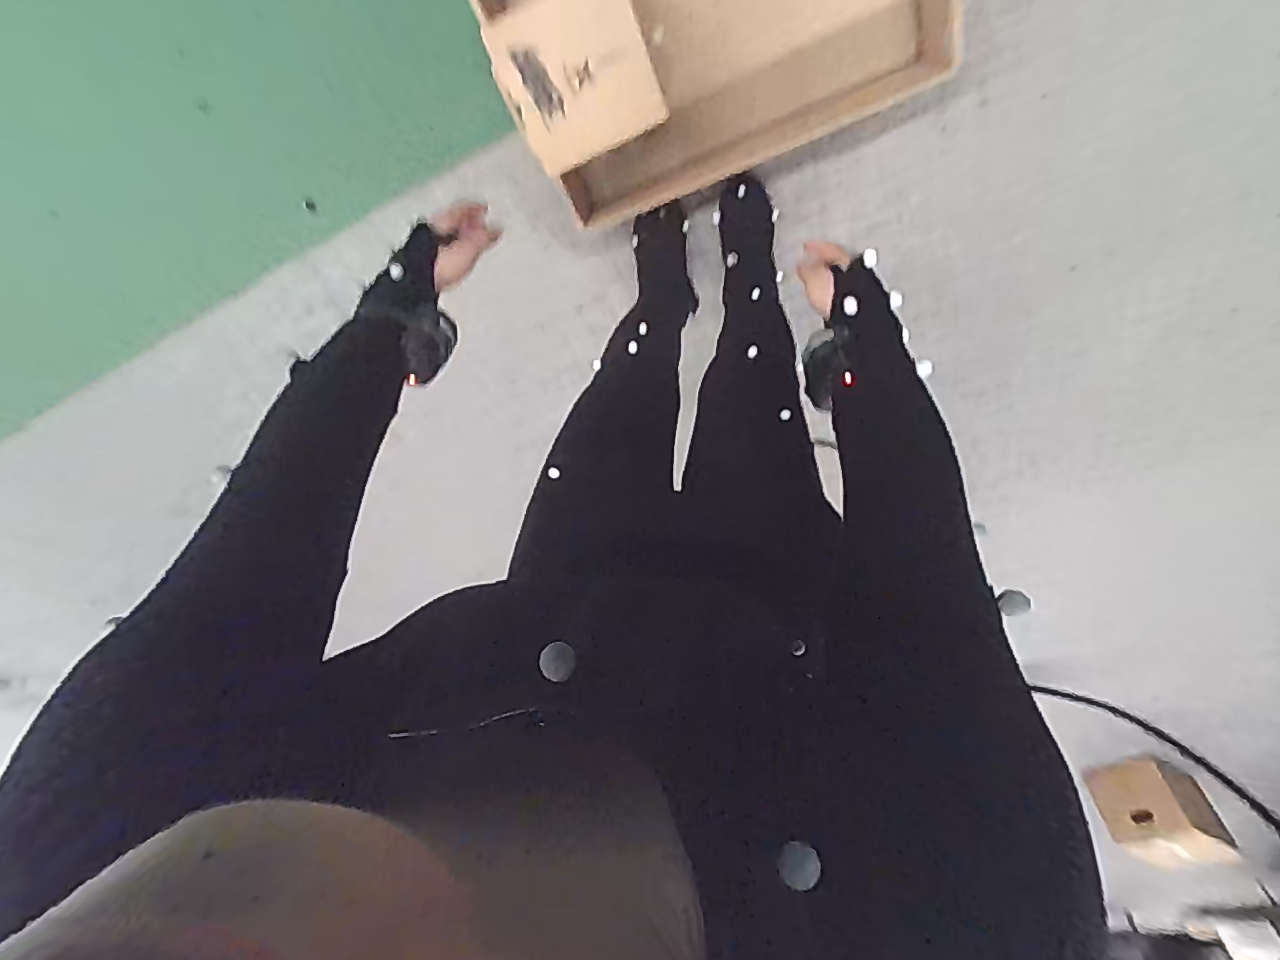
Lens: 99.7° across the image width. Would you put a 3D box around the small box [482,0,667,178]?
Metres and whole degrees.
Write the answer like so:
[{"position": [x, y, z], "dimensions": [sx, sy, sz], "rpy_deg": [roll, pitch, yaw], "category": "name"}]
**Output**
[{"position": [-0.072, -0.533, 0.711], "dimensions": [0.179, 0.176, 0.168], "rpy_deg": [-16, 129, 17], "category": "small box"}]
